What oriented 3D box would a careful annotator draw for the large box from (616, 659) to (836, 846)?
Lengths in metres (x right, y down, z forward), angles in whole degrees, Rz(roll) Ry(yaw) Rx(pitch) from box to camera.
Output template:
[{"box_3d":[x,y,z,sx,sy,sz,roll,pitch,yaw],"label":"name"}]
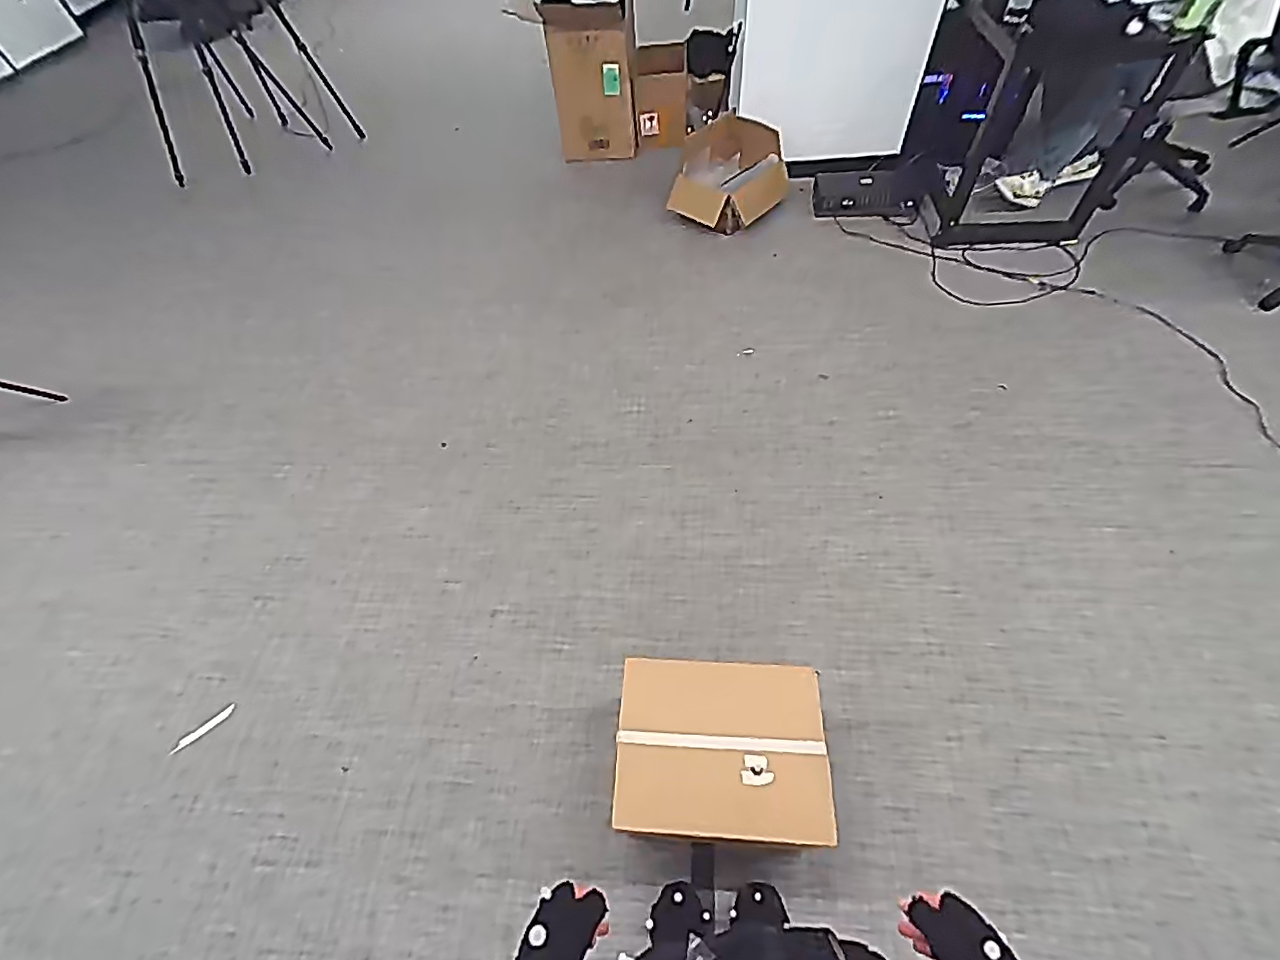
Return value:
[{"box_3d":[0.166,0.599,1.178,0.408,0.320,0.320,1,56,4],"label":"large box"}]
